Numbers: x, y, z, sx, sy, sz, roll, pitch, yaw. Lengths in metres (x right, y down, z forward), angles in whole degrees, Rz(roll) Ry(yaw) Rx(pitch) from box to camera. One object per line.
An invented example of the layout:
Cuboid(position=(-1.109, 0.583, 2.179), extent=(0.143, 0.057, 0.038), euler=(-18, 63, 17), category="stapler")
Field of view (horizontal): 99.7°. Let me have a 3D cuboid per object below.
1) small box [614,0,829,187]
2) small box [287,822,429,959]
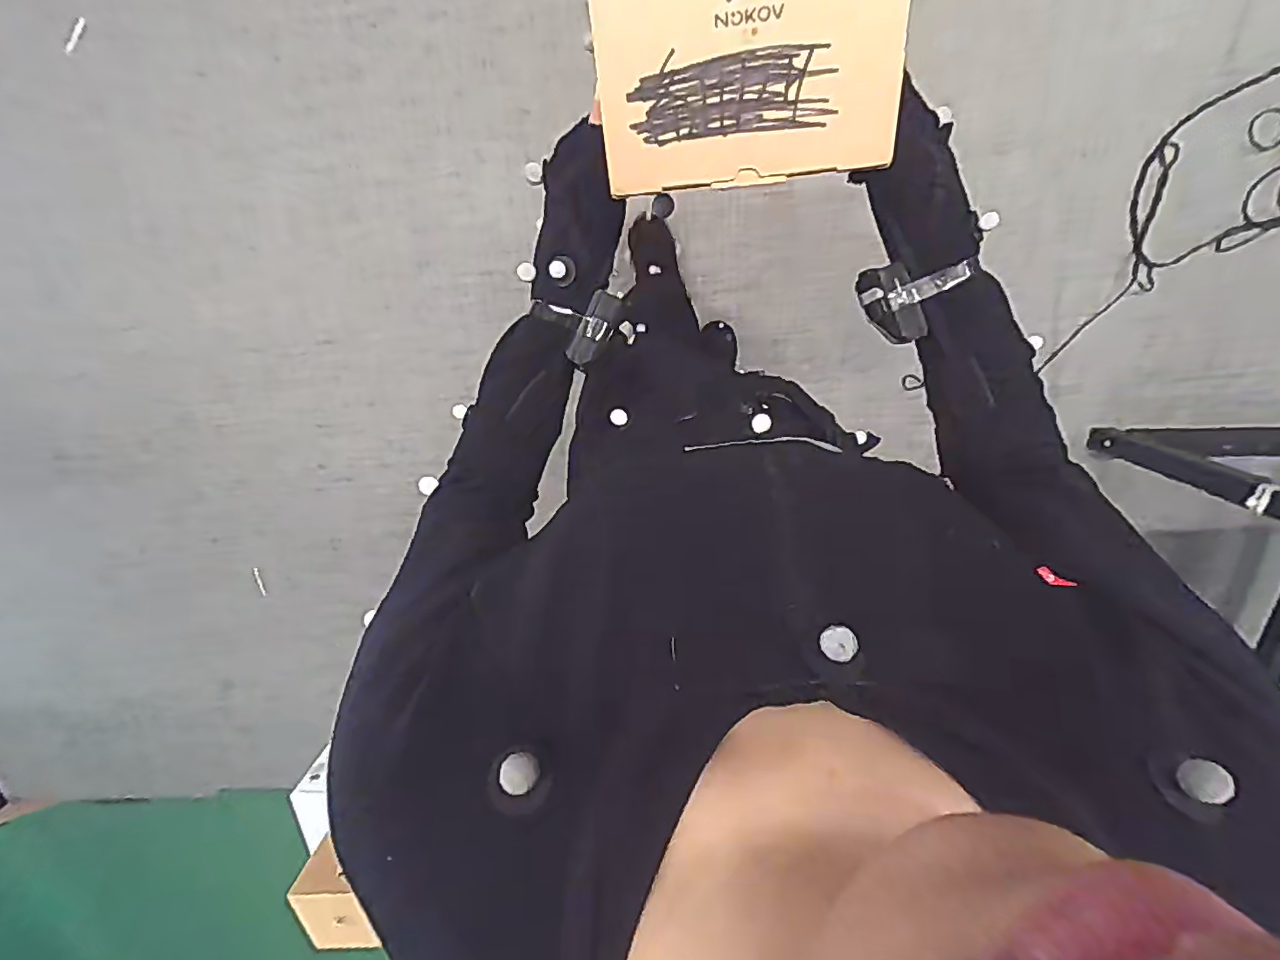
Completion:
Cuboid(position=(0.070, -0.382, 0.495), extent=(0.168, 0.176, 0.179), euler=(-5, 115, 8), category="small box")
Cuboid(position=(-0.571, 0.843, 1.119), extent=(0.179, 0.176, 0.168), euler=(-7, 109, 7), category="small box")
